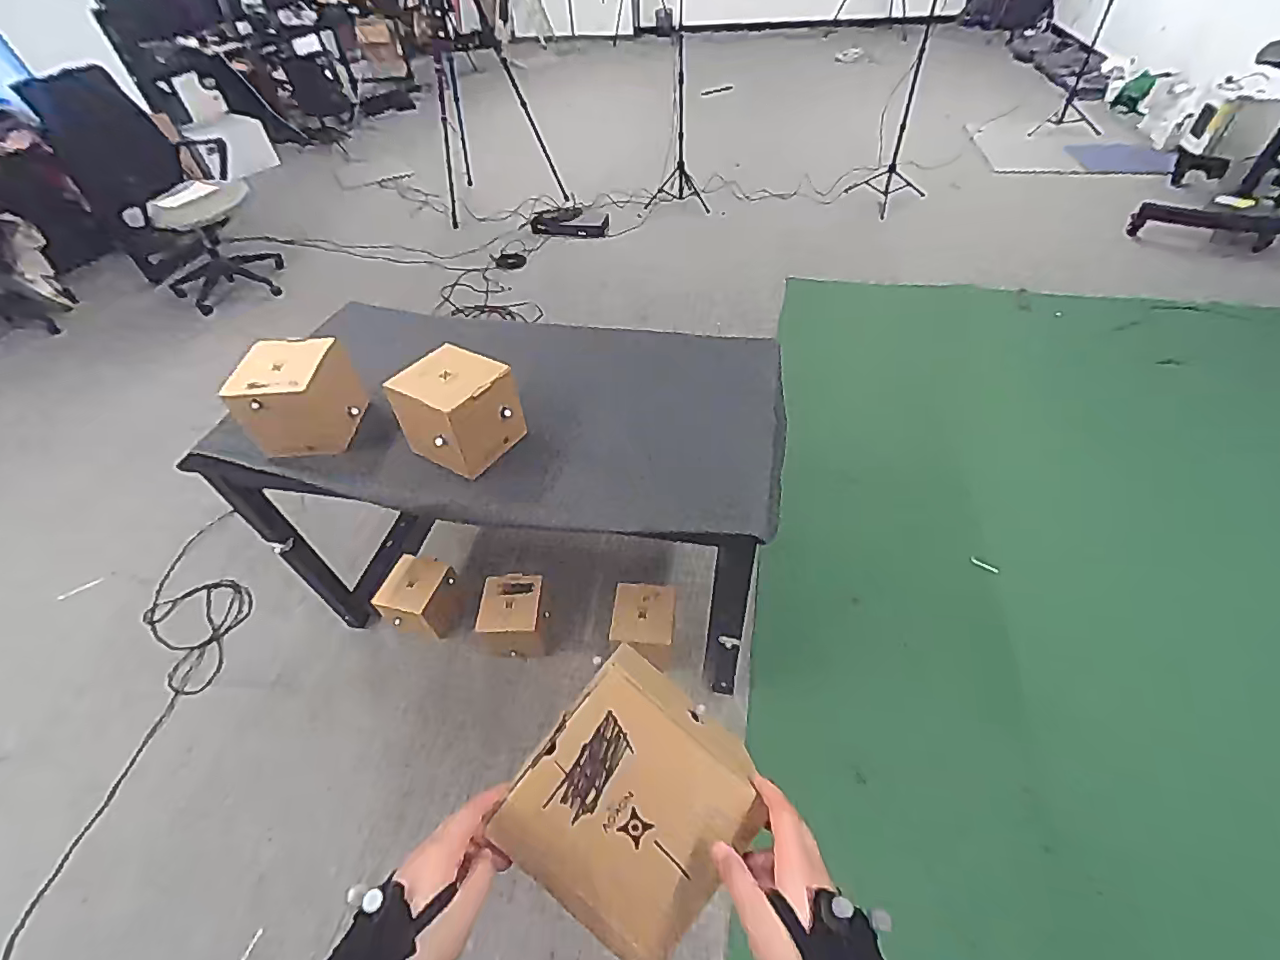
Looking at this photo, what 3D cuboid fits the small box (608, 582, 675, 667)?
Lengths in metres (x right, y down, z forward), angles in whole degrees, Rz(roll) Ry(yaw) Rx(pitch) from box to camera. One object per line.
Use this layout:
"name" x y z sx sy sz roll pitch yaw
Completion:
"small box" 0.011 0.407 1.516 0.168 0.176 0.179 3 48 7

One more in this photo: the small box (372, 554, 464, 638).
"small box" -0.657 0.353 1.627 0.168 0.176 0.179 9 49 13

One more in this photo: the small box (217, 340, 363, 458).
"small box" -0.700 -0.166 1.112 0.168 0.176 0.179 -3 48 2

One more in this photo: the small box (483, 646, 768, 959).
"small box" -0.011 0.278 0.516 0.179 0.176 0.168 39 84 7

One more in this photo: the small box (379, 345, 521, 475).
"small box" -0.359 -0.134 1.056 0.179 0.176 0.168 21 50 24
